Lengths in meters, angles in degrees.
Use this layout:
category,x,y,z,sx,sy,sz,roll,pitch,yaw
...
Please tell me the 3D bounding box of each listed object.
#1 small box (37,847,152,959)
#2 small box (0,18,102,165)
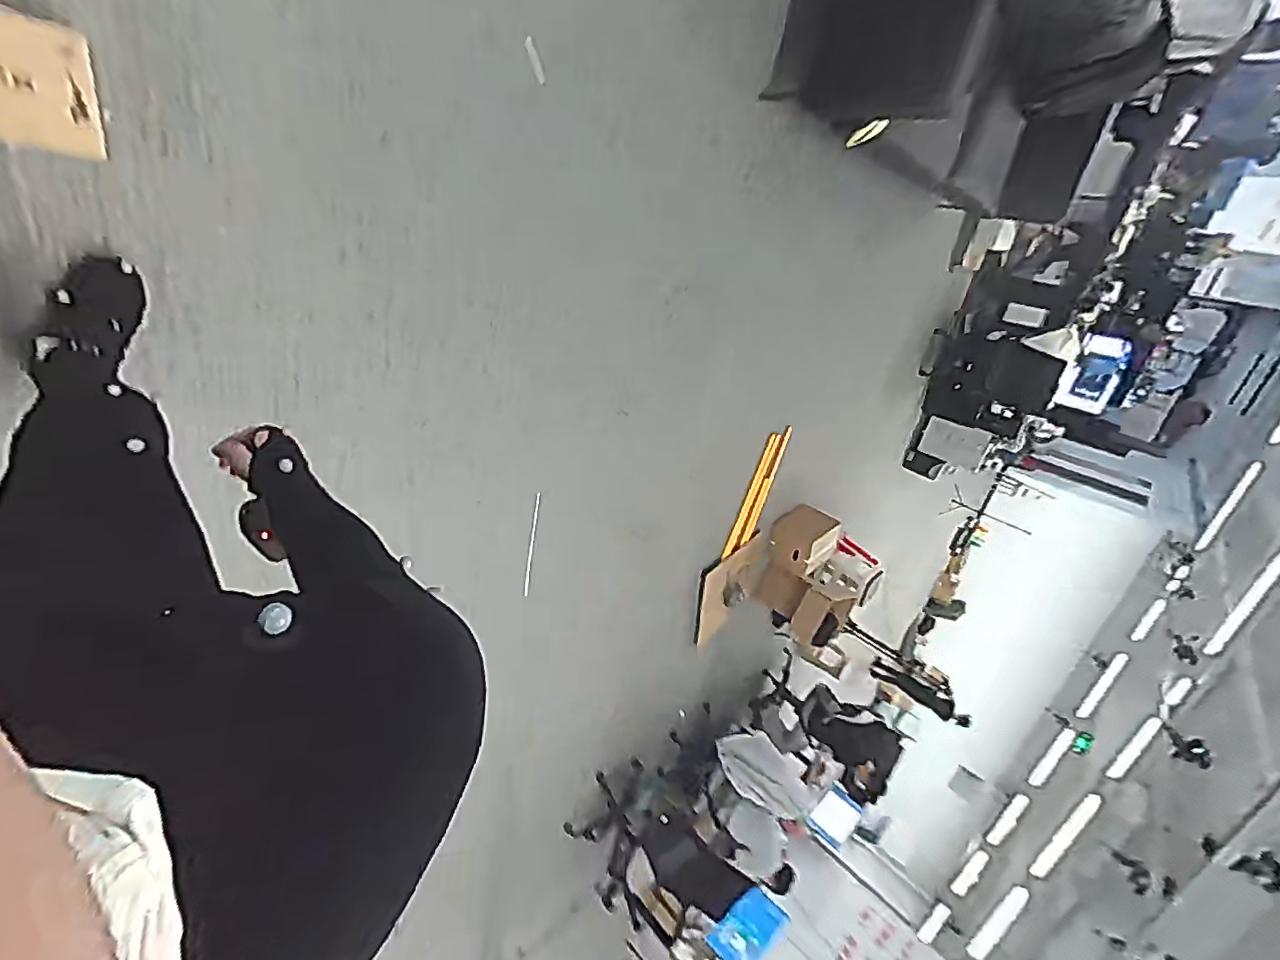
category,x,y,z,sx,sy,sz,roll,pitch,yaw
small box,-1.419,1.108,1.406,0.168,0.176,0.179,-23,130,-40
small box,-0.953,-0.591,0.817,0.179,0.176,0.168,-12,123,-45
